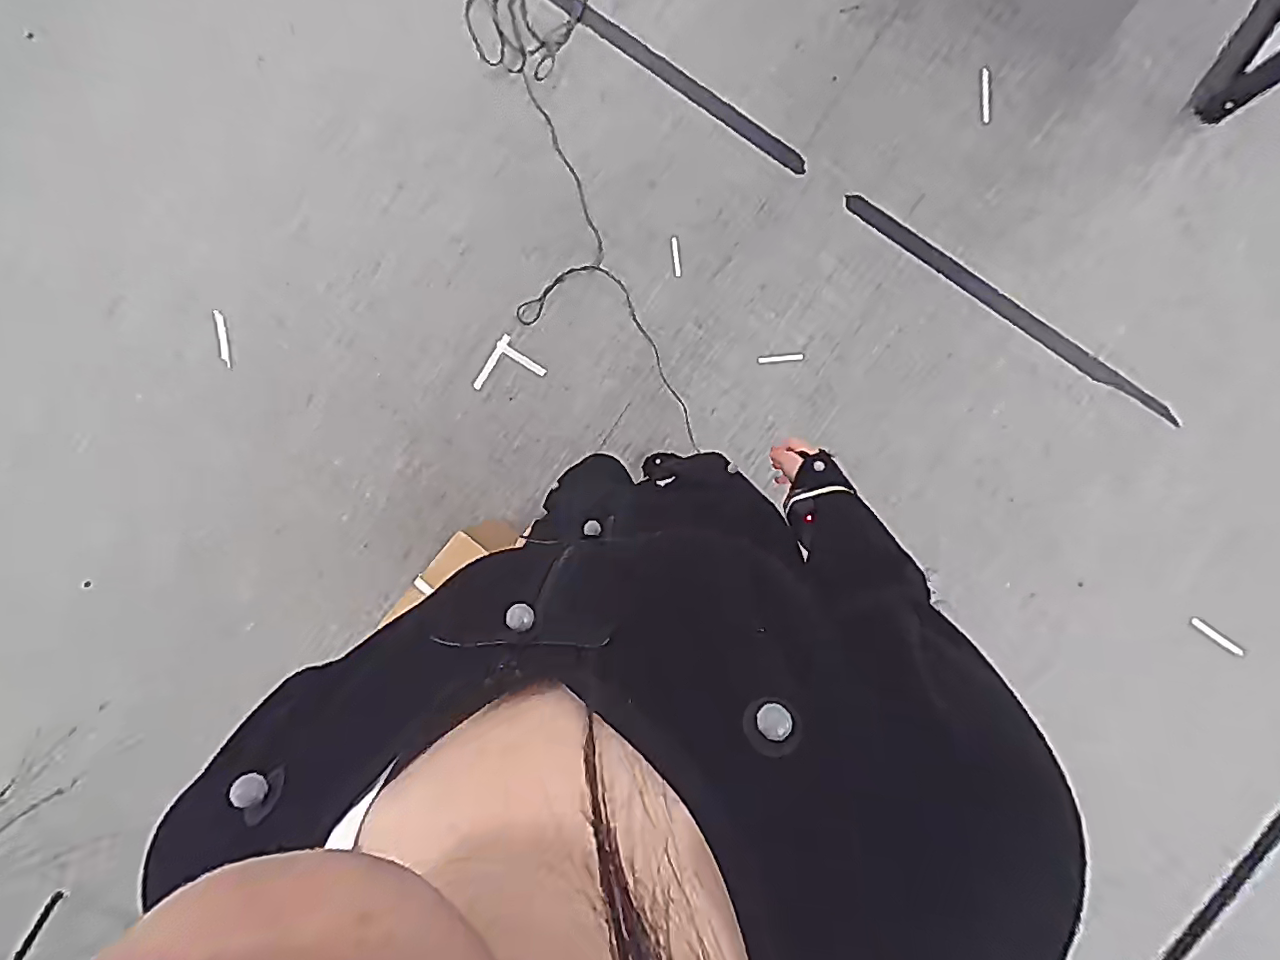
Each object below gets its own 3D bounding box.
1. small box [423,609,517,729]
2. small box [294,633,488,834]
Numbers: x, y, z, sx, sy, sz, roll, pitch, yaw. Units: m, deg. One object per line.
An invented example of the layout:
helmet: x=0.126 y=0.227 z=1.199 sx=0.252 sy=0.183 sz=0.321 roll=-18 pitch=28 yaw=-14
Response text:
small box: x=-0.340 y=0.357 z=0.966 sx=0.168 sy=0.176 sz=0.179 roll=40 pitch=92 yaw=2
small box: x=-0.349 y=0.358 z=0.802 sx=0.168 sy=0.176 sz=0.179 roll=38 pitch=94 yaw=1
